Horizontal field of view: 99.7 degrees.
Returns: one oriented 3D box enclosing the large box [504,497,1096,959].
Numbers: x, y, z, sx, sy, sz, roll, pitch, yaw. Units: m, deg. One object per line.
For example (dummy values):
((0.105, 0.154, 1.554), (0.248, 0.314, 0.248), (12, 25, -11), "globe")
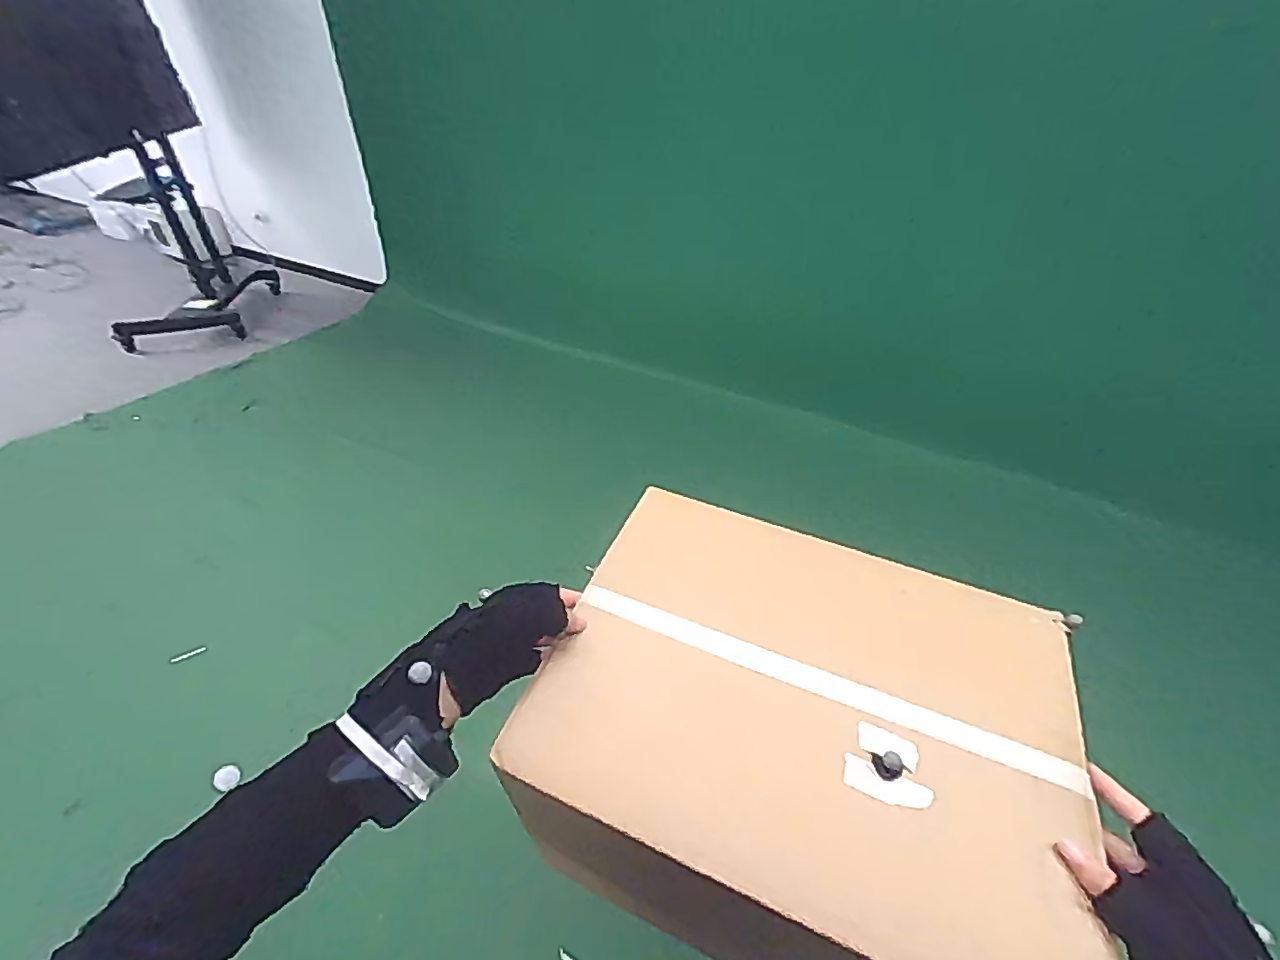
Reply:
((0.132, 0.273, 0.555), (0.408, 0.320, 0.320), (17, 47, 16), "large box")
